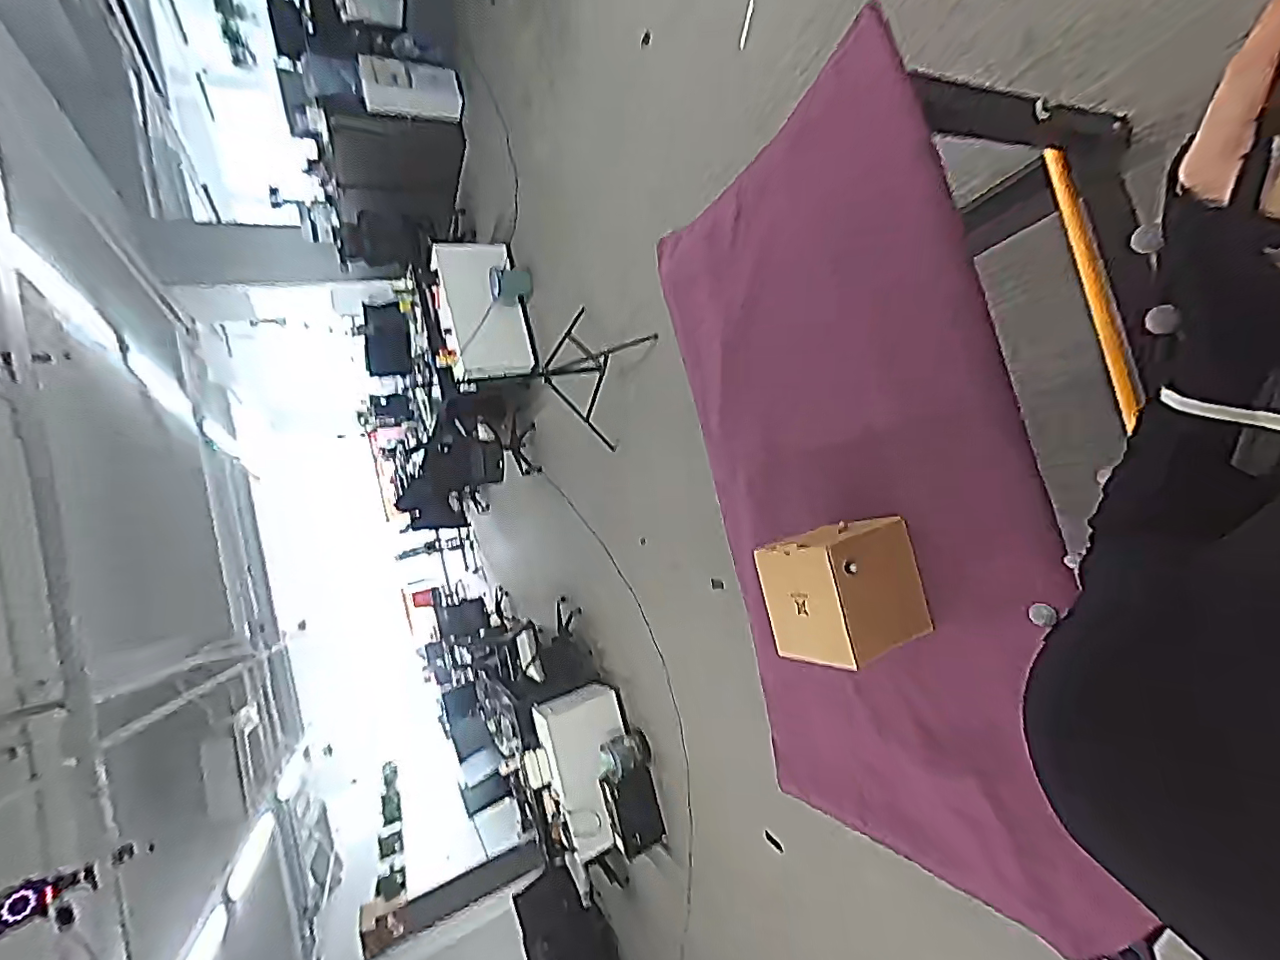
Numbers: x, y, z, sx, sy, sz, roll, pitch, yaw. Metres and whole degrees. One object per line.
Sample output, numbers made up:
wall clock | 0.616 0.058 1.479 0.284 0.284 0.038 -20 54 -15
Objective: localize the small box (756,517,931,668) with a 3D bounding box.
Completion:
small box | 0.312 0.165 0.834 0.168 0.176 0.179 -21 82 63
